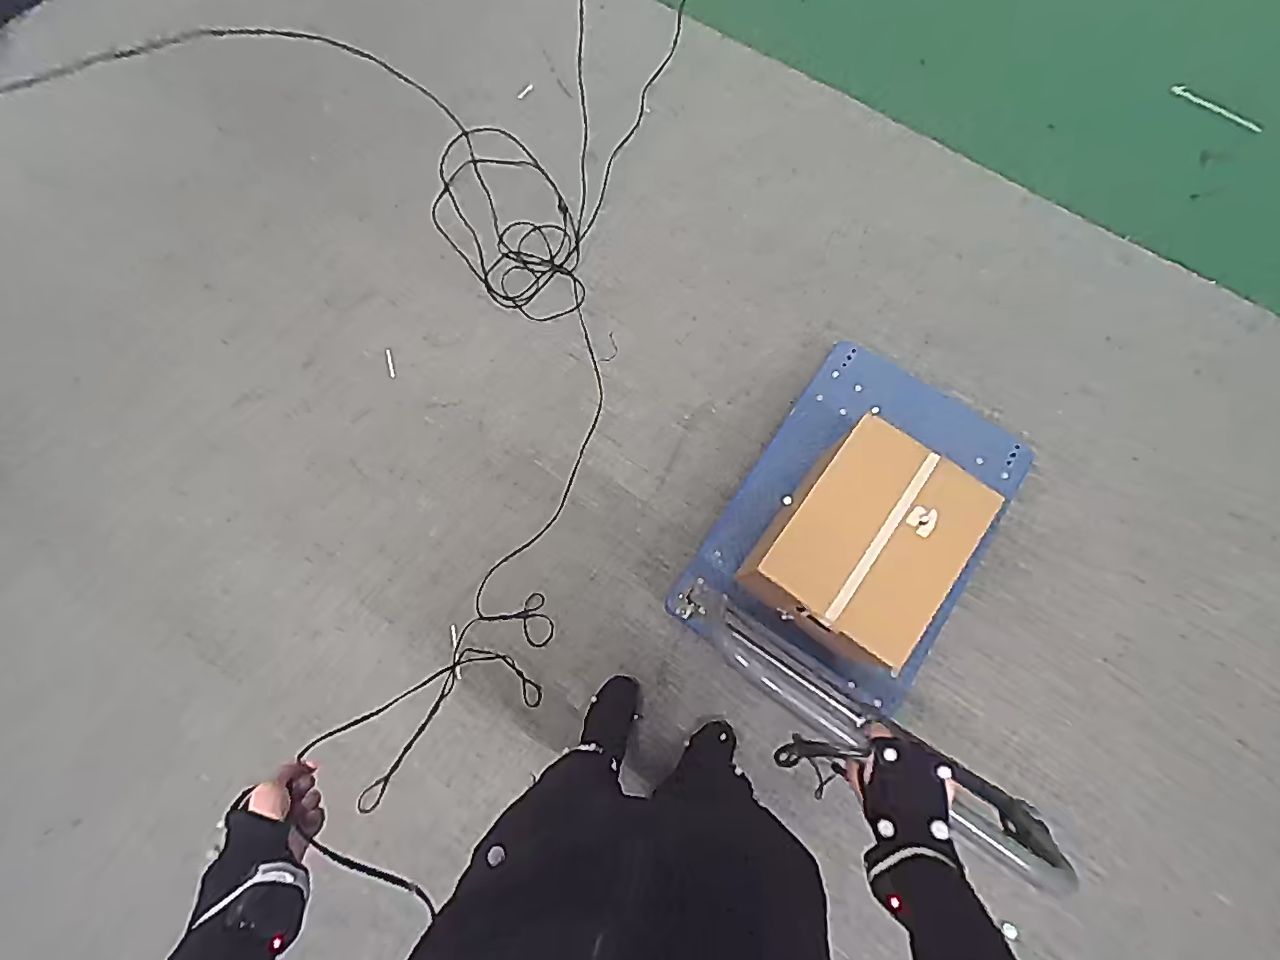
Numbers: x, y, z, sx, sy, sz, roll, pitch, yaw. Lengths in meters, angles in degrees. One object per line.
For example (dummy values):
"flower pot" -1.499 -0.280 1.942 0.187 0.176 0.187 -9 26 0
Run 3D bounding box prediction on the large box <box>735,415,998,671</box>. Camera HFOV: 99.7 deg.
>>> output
"large box" 0.457 0.145 1.172 0.320 0.320 0.408 37 79 8
